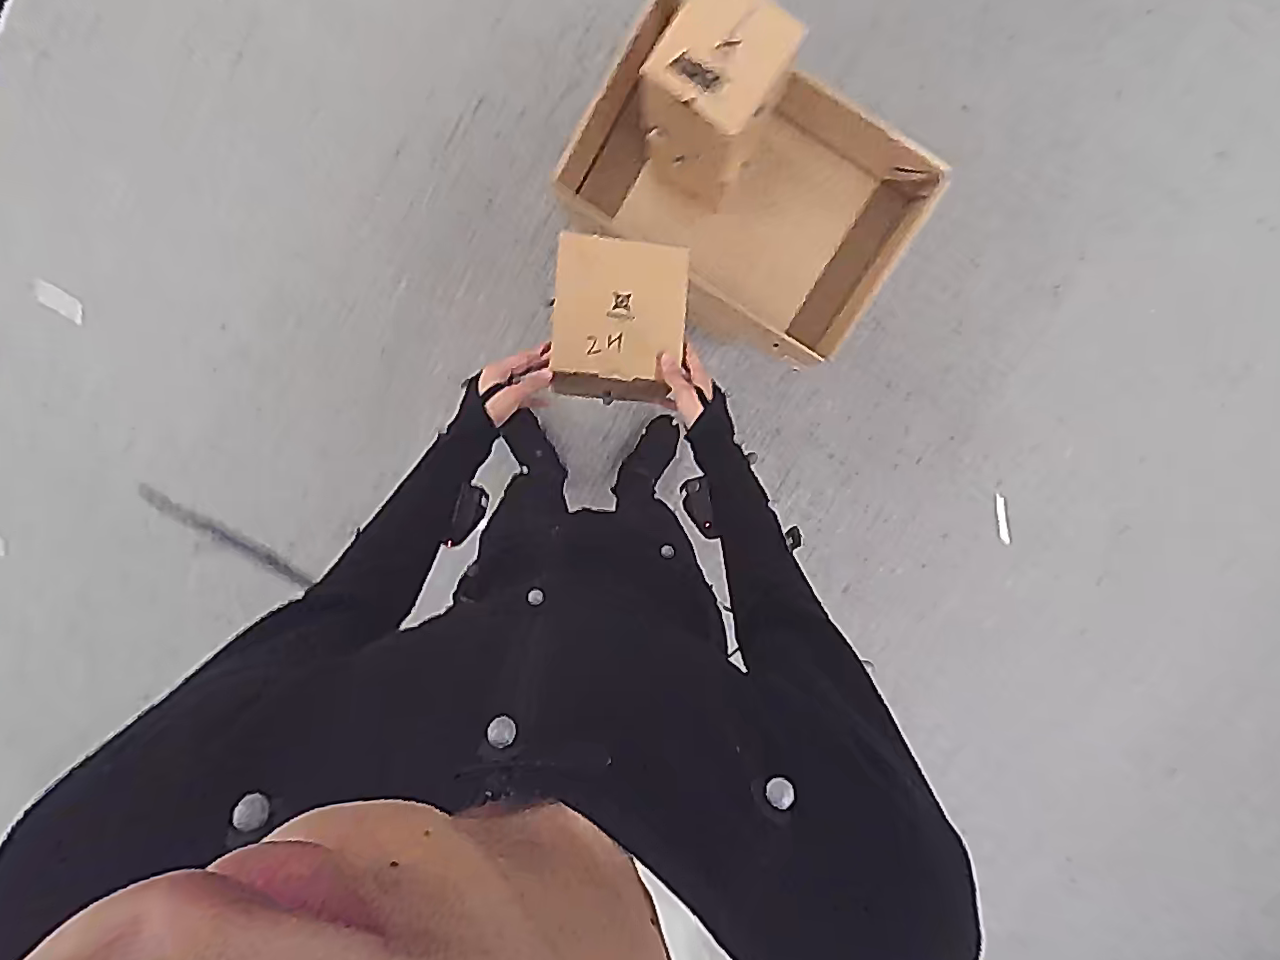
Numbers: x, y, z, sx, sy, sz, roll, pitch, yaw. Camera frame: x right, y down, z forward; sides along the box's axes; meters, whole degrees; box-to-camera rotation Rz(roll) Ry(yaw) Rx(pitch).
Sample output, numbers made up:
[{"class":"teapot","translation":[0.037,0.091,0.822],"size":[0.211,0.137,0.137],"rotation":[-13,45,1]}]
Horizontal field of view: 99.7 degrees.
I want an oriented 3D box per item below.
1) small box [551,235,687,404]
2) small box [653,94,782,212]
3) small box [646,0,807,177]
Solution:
[{"class":"small box","translation":[-0.037,-0.212,0.759],"size":[0.168,0.176,0.179],"rotation":[4,89,-8]},{"class":"small box","translation":[0.133,-0.644,1.010],"size":[0.168,0.176,0.179],"rotation":[29,98,-3]},{"class":"small box","translation":[0.126,-0.620,0.846],"size":[0.168,0.176,0.179],"rotation":[36,98,-5]}]
